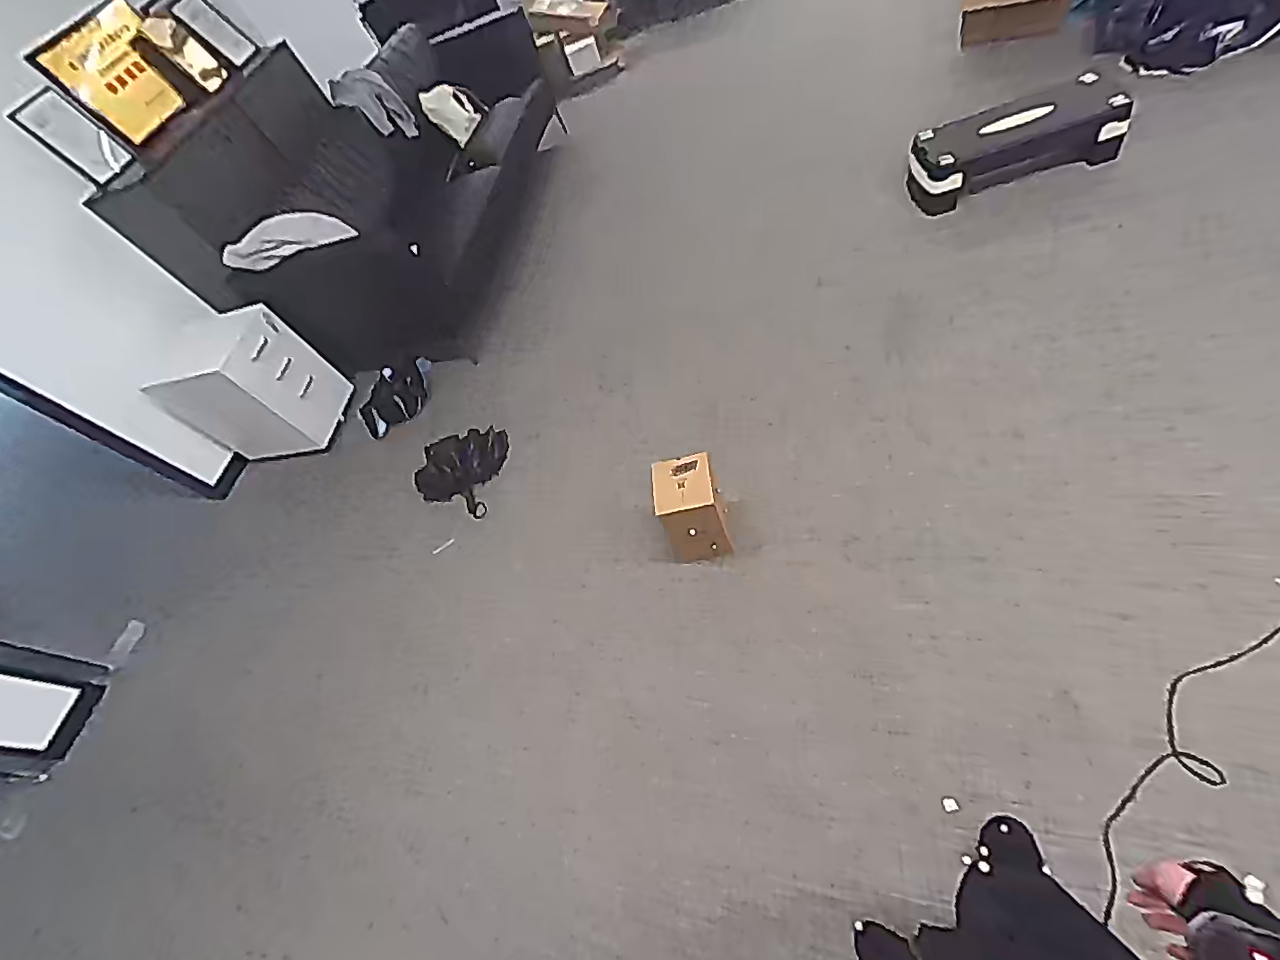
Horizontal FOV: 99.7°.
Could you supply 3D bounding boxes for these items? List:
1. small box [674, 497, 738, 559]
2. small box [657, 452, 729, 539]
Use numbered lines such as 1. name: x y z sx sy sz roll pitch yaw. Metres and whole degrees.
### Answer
1. small box: 0.202 0.132 1.684 0.168 0.176 0.179 -14 53 14
2. small box: 0.153 0.048 1.551 0.168 0.176 0.179 -13 56 15
